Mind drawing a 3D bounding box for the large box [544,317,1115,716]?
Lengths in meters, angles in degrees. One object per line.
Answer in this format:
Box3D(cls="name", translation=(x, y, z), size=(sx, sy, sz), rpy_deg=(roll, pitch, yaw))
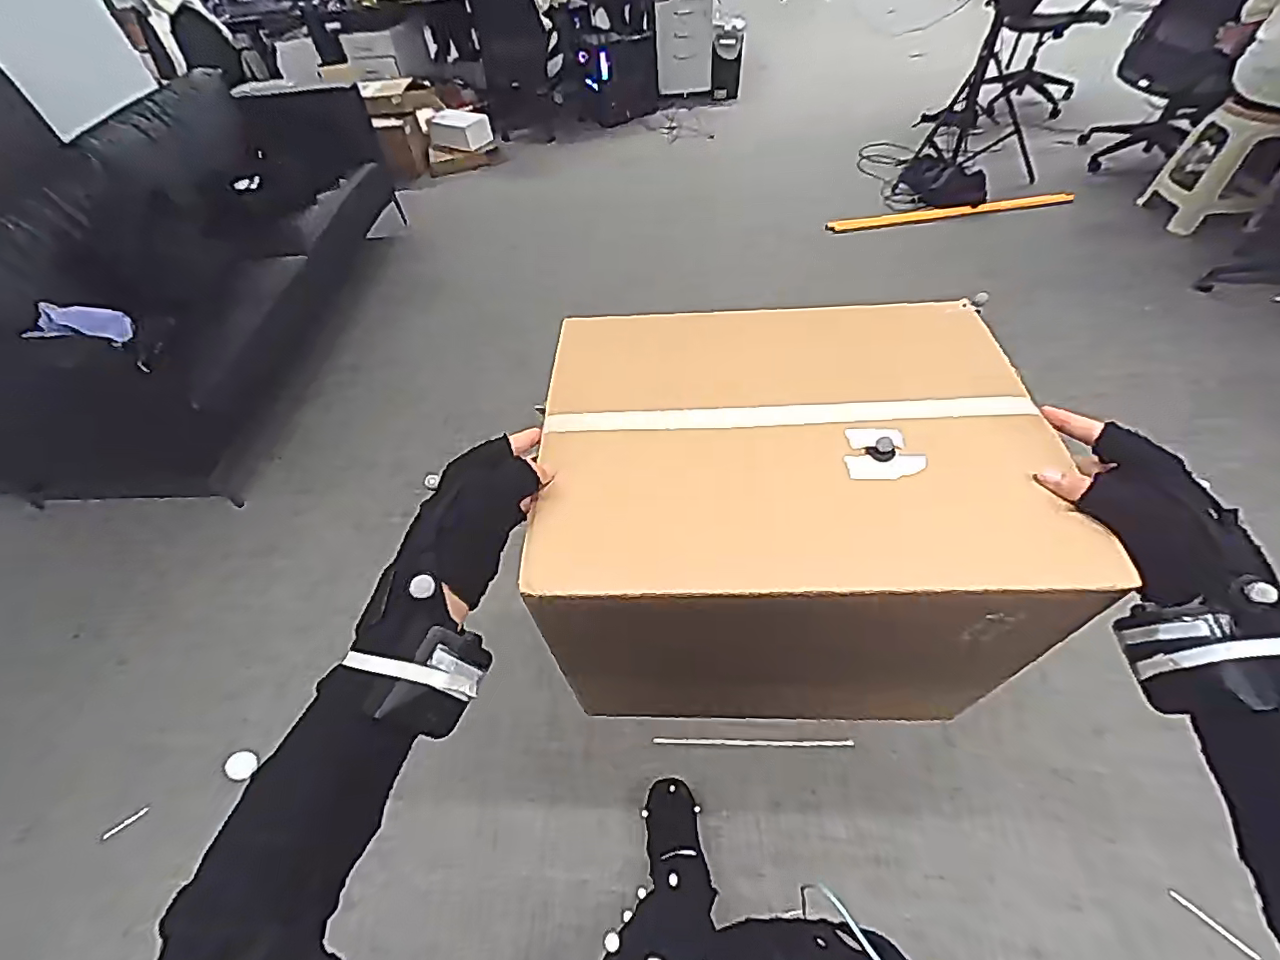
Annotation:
Box3D(cls="large box", translation=(0.135, 0.050, 0.582), size=(0.408, 0.320, 0.320), rpy_deg=(-1, 52, 3))
